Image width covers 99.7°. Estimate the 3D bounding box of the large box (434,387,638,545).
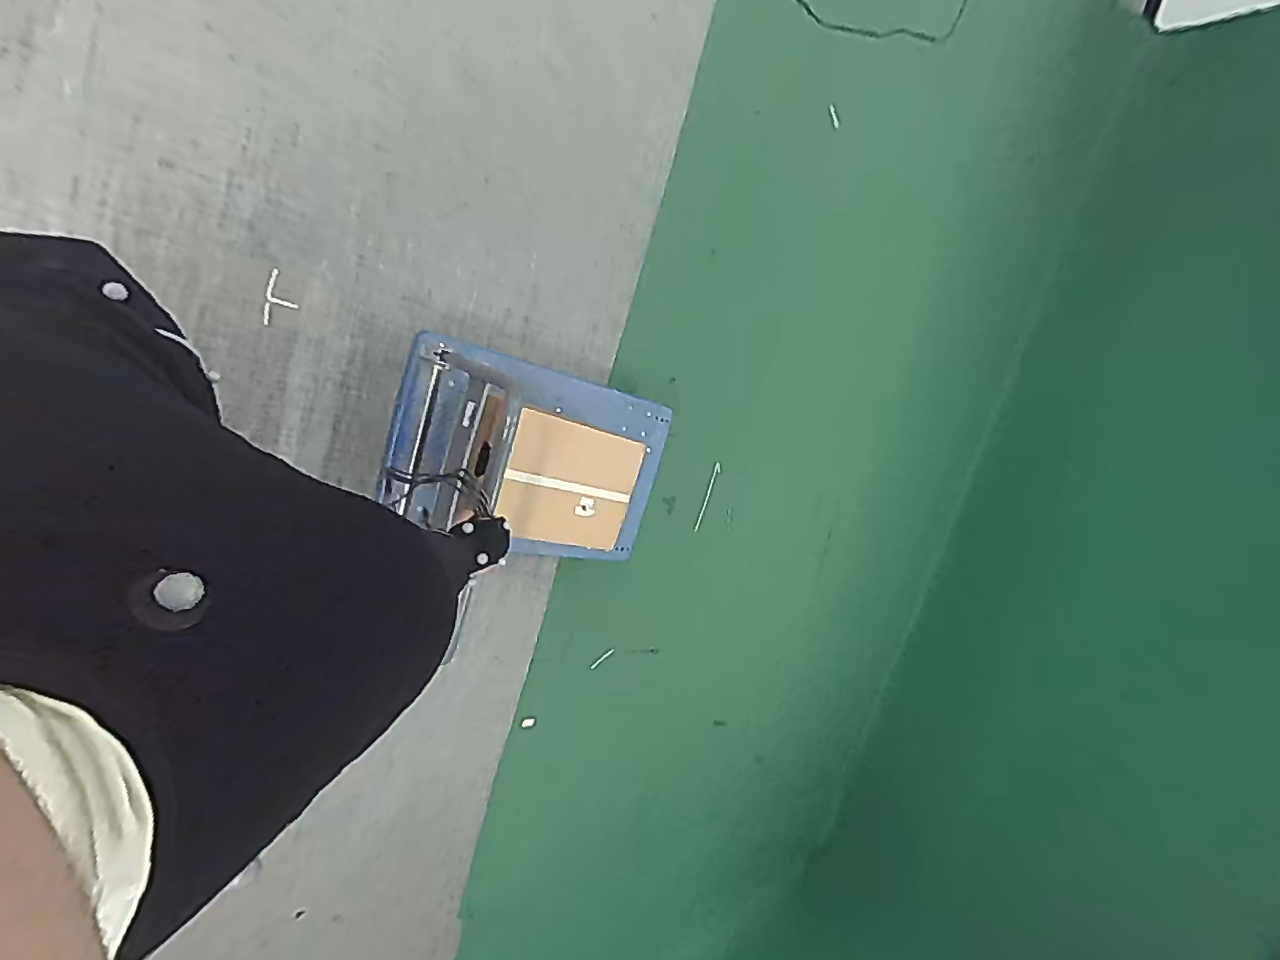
[{"bbox_3d":[-0.286,-0.036,1.470,0.408,0.320,0.320,14,98,-40],"label":"large box"}]
